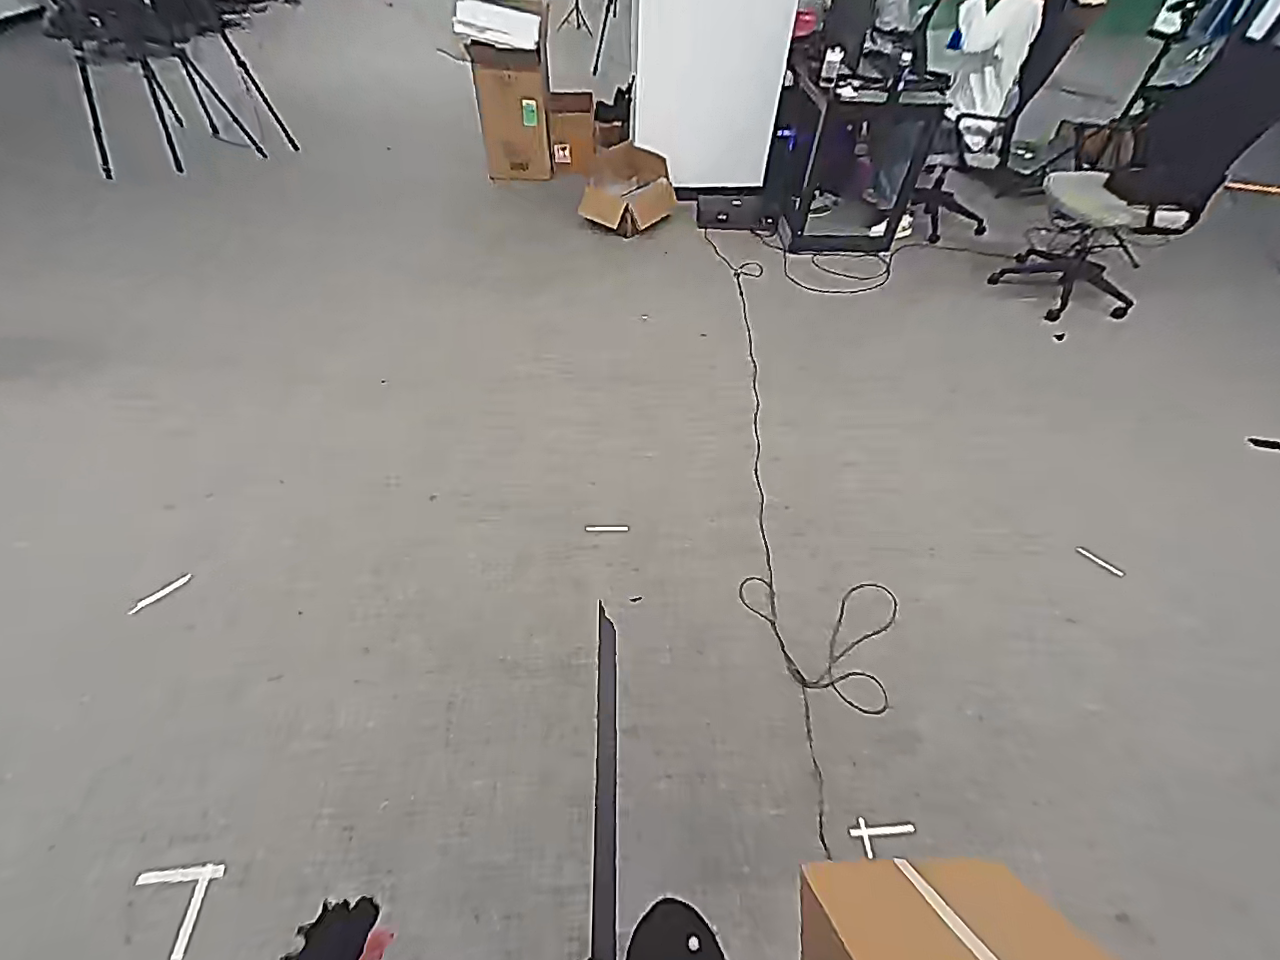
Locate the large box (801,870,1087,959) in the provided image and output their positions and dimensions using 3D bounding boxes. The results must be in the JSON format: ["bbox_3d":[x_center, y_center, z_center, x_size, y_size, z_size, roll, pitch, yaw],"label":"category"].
[{"bbox_3d":[0.402,0.735,0.621,0.320,0.408,0.320,2,83,-3],"label":"large box"}]
